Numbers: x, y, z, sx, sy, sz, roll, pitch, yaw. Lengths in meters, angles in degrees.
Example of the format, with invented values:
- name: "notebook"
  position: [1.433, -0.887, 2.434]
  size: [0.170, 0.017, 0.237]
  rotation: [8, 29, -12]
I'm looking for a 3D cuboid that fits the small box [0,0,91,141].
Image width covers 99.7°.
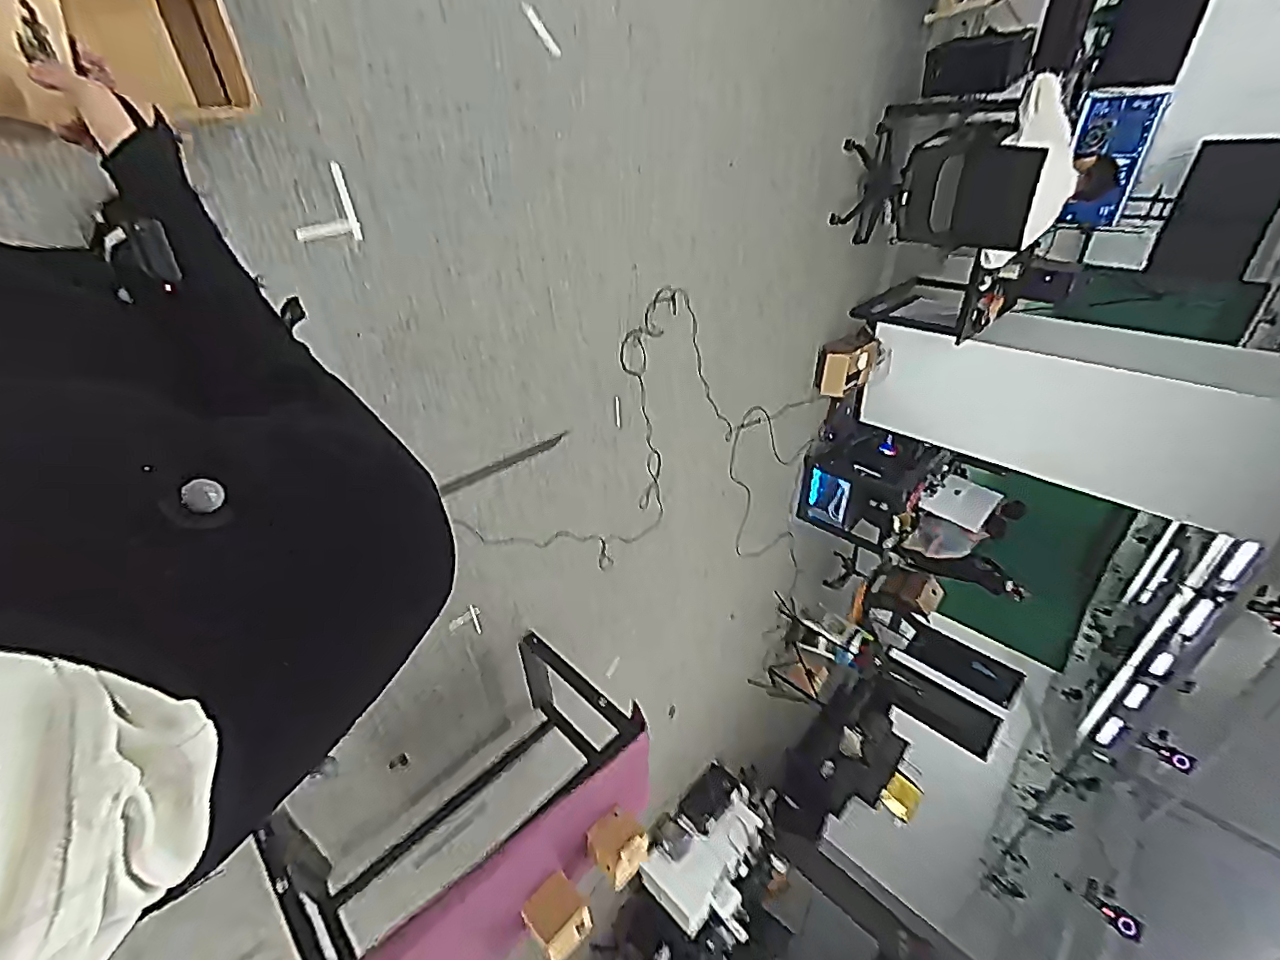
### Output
- name: "small box"
  position: [-0.607, -0.387, 0.436]
  size: [0.179, 0.176, 0.168]
  rotation: [-25, 126, -54]

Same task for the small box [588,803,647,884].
- name: "small box"
  position: [-0.090, 1.416, 2.122]
  size: [0.168, 0.176, 0.179]
  rotation: [-24, 129, -39]
